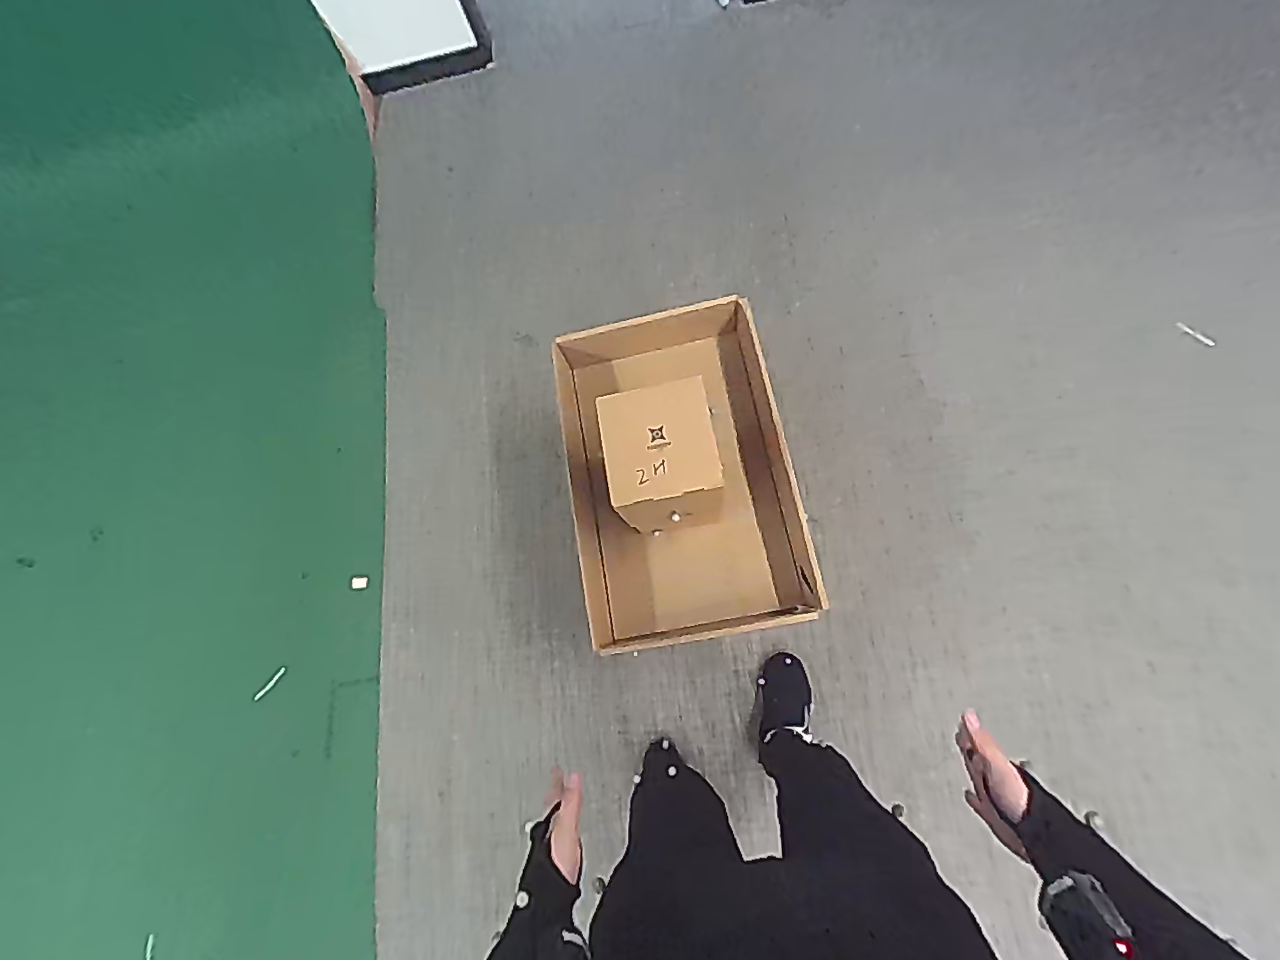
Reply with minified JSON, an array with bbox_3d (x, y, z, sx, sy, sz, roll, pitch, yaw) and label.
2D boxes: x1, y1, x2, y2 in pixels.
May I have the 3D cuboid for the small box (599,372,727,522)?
[{"bbox_3d":[0.039,-0.043,0.857,0.168,0.176,0.179,-11,75,6],"label":"small box"}]

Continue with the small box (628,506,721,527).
[{"bbox_3d":[0.060,-0.013,1.018,0.168,0.176,0.179,-10,74,5],"label":"small box"}]
